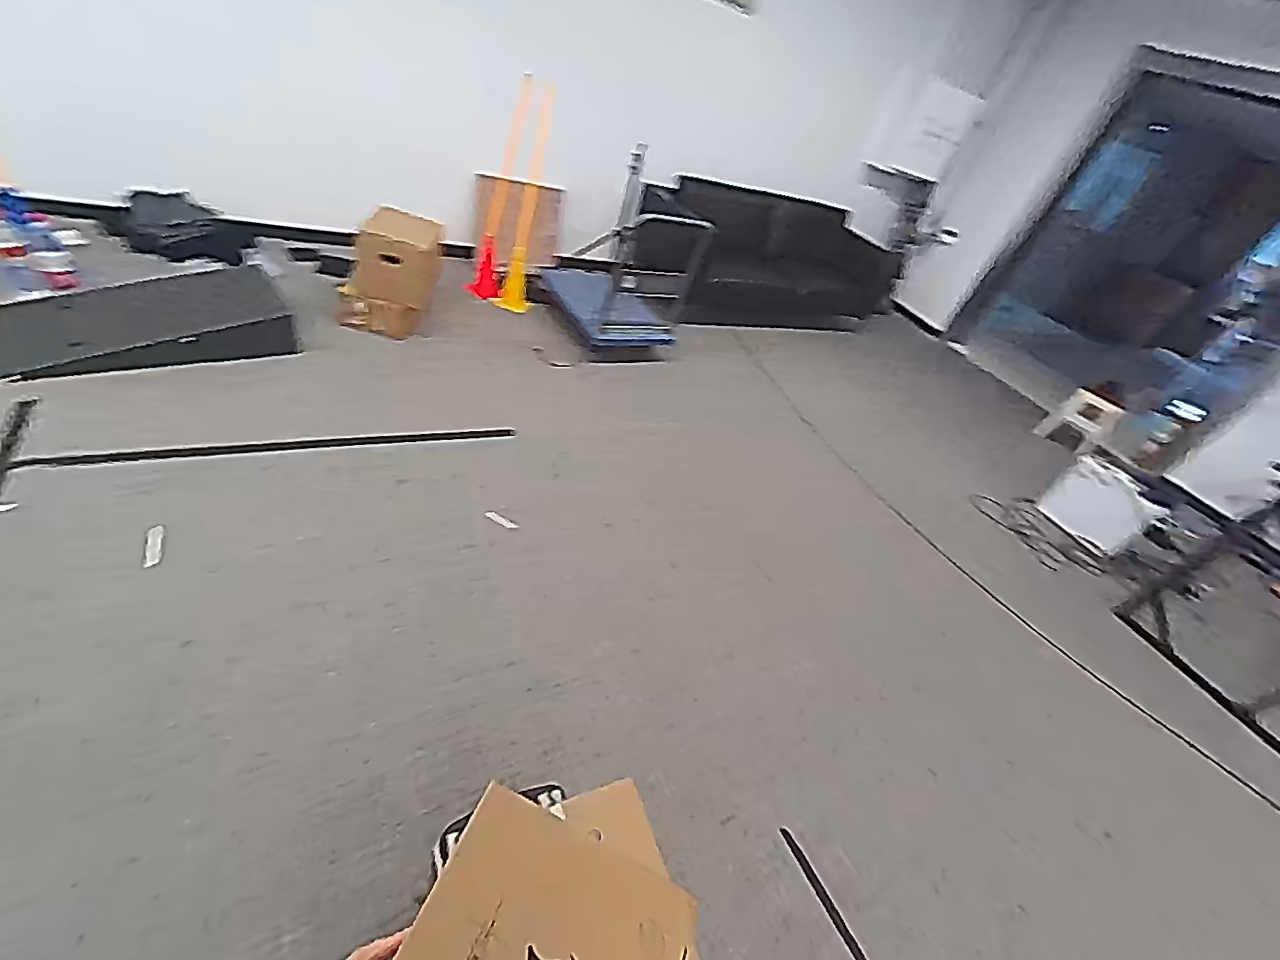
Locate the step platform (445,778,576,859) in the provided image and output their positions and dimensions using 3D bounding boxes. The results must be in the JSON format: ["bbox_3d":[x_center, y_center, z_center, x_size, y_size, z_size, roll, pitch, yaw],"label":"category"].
[{"bbox_3d":[-0.197,0.975,1.057,0.286,0.204,0.684,-2,42,-26],"label":"step platform"}]

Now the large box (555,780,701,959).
[{"bbox_3d":[-0.112,0.812,0.903,0.320,0.320,0.408,-3,43,-29],"label":"large box"}]

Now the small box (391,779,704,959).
[{"bbox_3d":[-0.083,0.353,0.385,0.179,0.176,0.168,27,44,3],"label":"small box"}]
